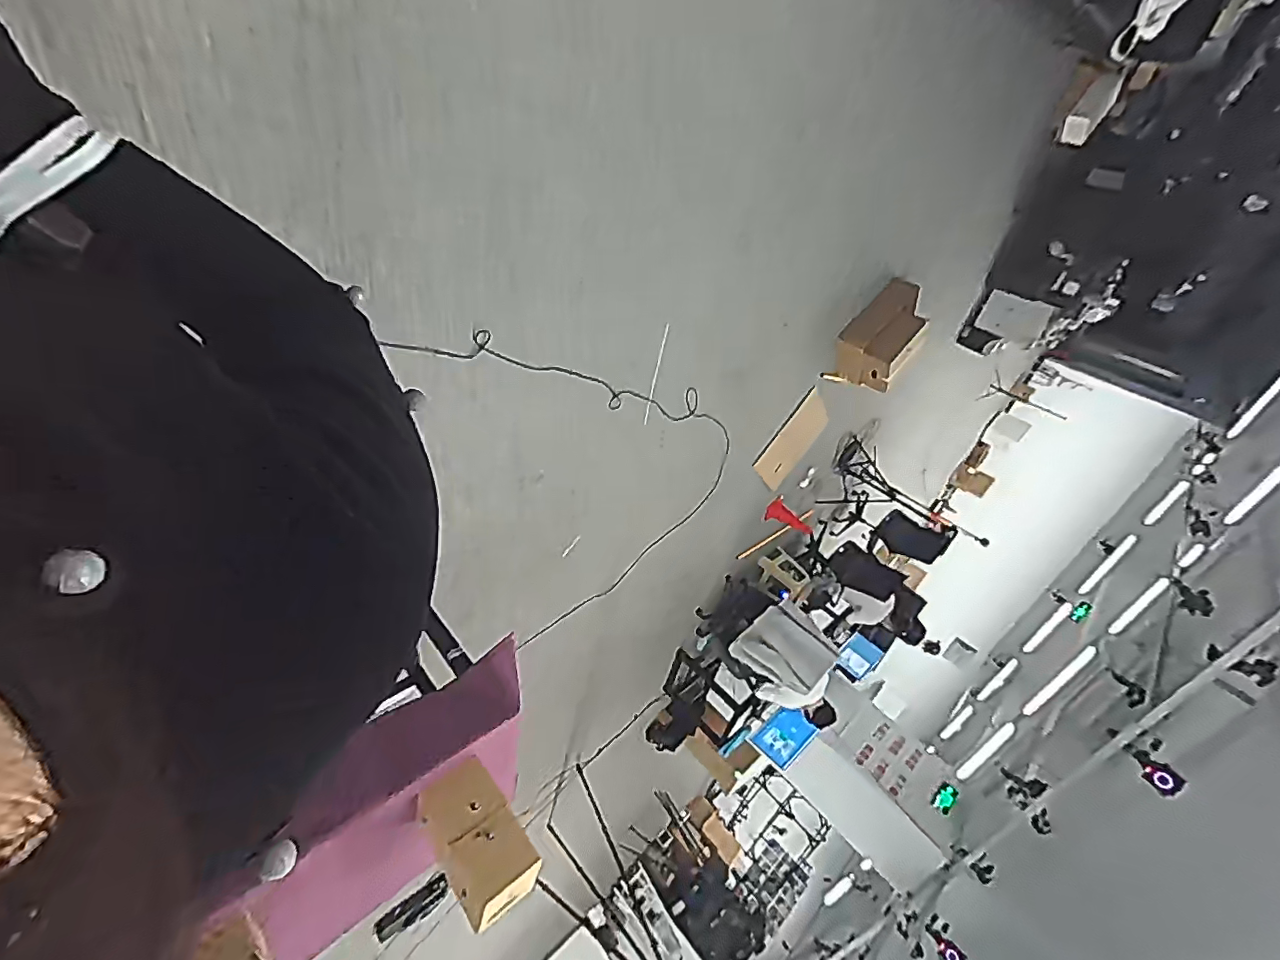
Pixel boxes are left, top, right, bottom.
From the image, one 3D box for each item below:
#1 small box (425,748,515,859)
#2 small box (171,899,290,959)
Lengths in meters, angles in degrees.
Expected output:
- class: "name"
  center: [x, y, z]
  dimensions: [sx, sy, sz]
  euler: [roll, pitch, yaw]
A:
- class: "small box"
  center: [-0.473, 0.890, 1.503]
  dimensions: [0.179, 0.176, 0.168]
  euler: [-19, 137, -41]
- class: "small box"
  center: [-0.862, 1.049, 1.153]
  dimensions: [0.168, 0.176, 0.179]
  euler: [-22, 139, -39]
